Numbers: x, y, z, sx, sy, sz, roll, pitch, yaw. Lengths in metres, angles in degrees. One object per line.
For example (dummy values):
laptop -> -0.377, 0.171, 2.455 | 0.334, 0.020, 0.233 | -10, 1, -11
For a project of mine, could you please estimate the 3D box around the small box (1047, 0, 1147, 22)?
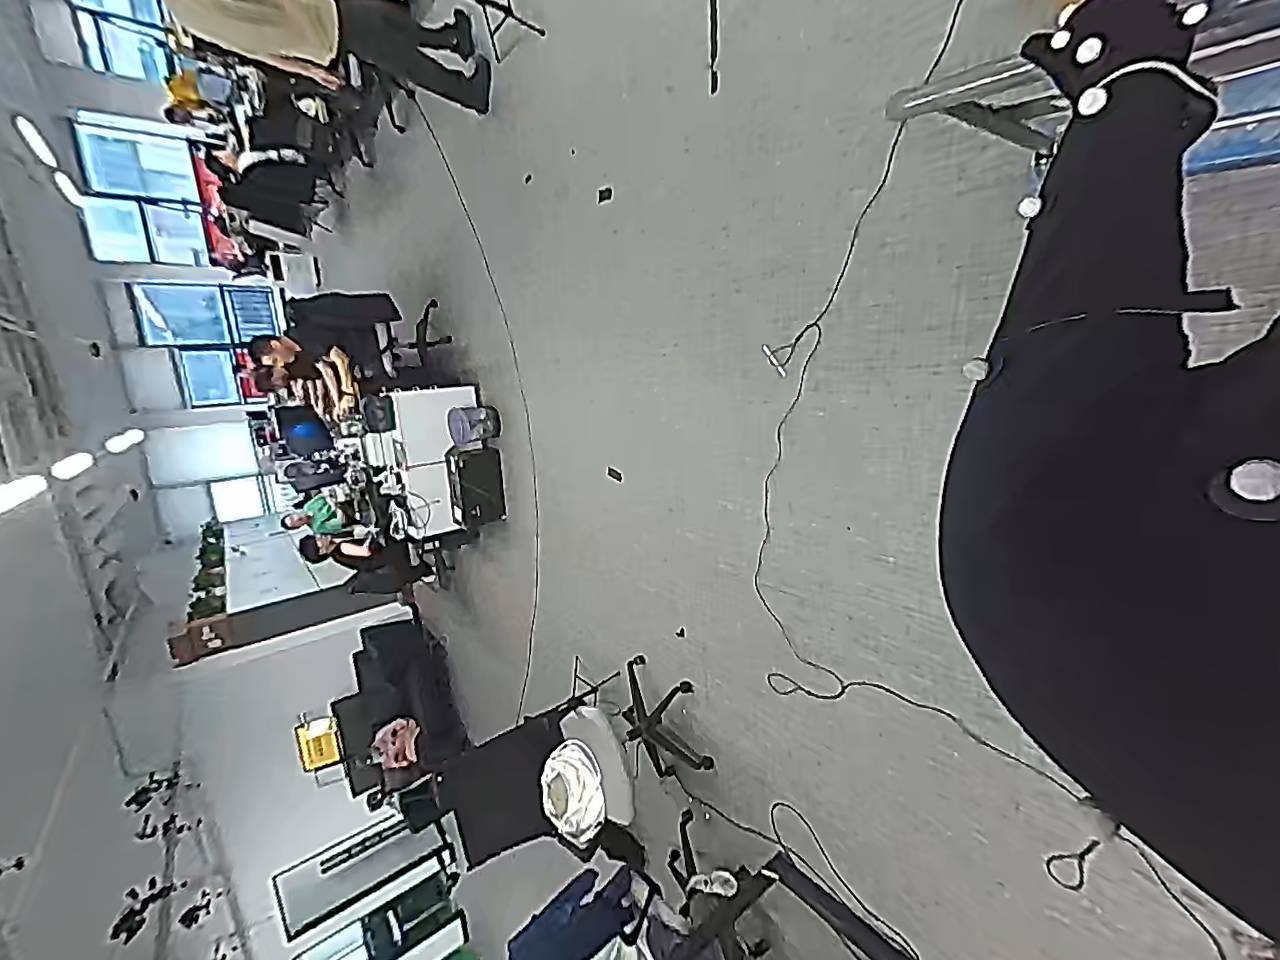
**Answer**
small box -> 0.768, -0.878, 0.860 | 0.179, 0.176, 0.168 | 22, 116, 46
